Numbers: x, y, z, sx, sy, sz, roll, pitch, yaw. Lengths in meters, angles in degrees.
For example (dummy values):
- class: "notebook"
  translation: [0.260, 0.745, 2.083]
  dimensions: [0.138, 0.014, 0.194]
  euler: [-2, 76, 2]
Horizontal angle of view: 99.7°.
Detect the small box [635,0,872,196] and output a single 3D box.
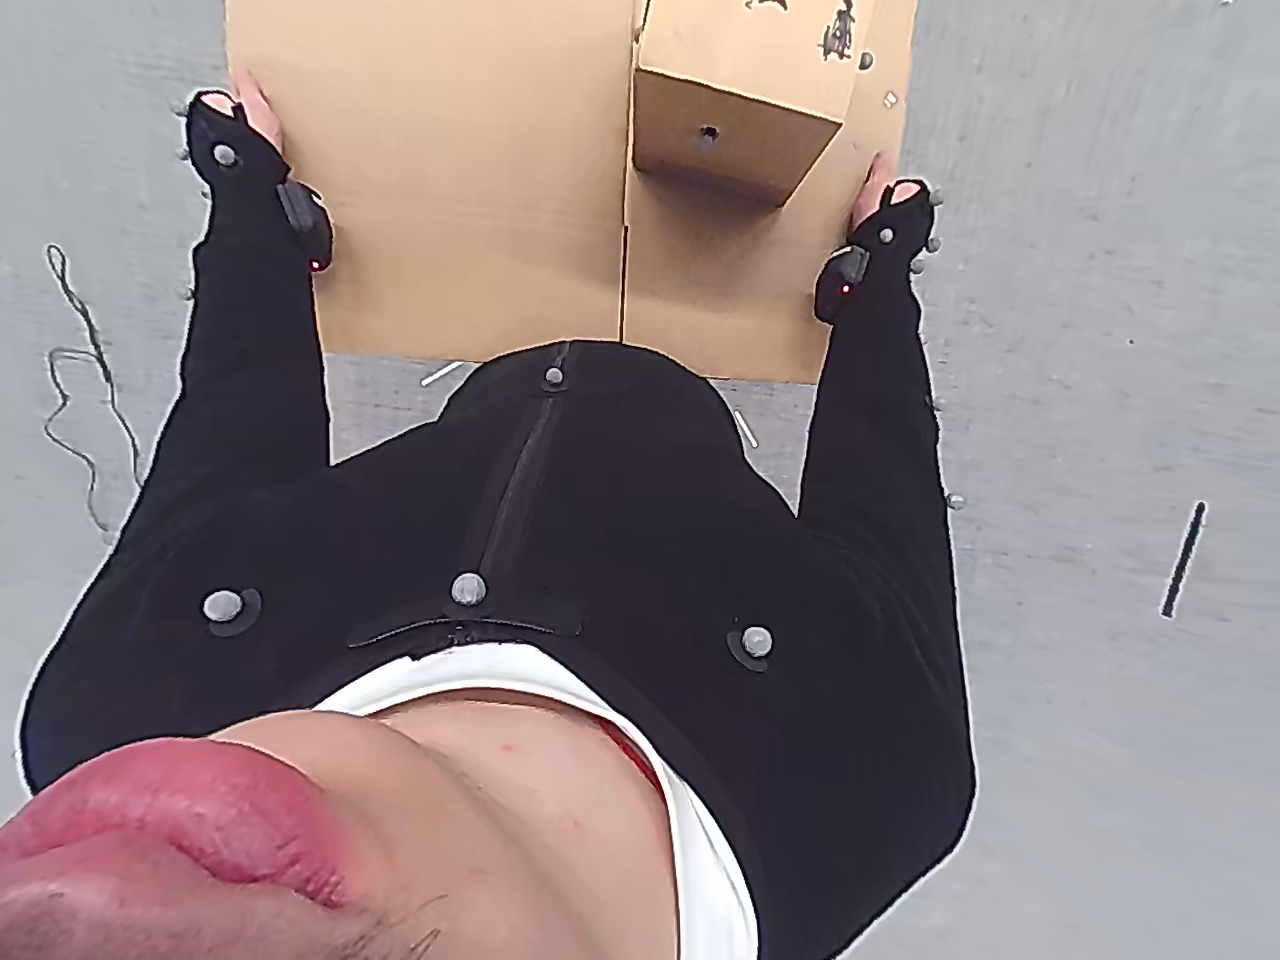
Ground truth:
- class: "small box"
  translation: [0.098, -0.397, 0.509]
  dimensions: [0.179, 0.176, 0.168]
  euler: [13, 96, -2]
